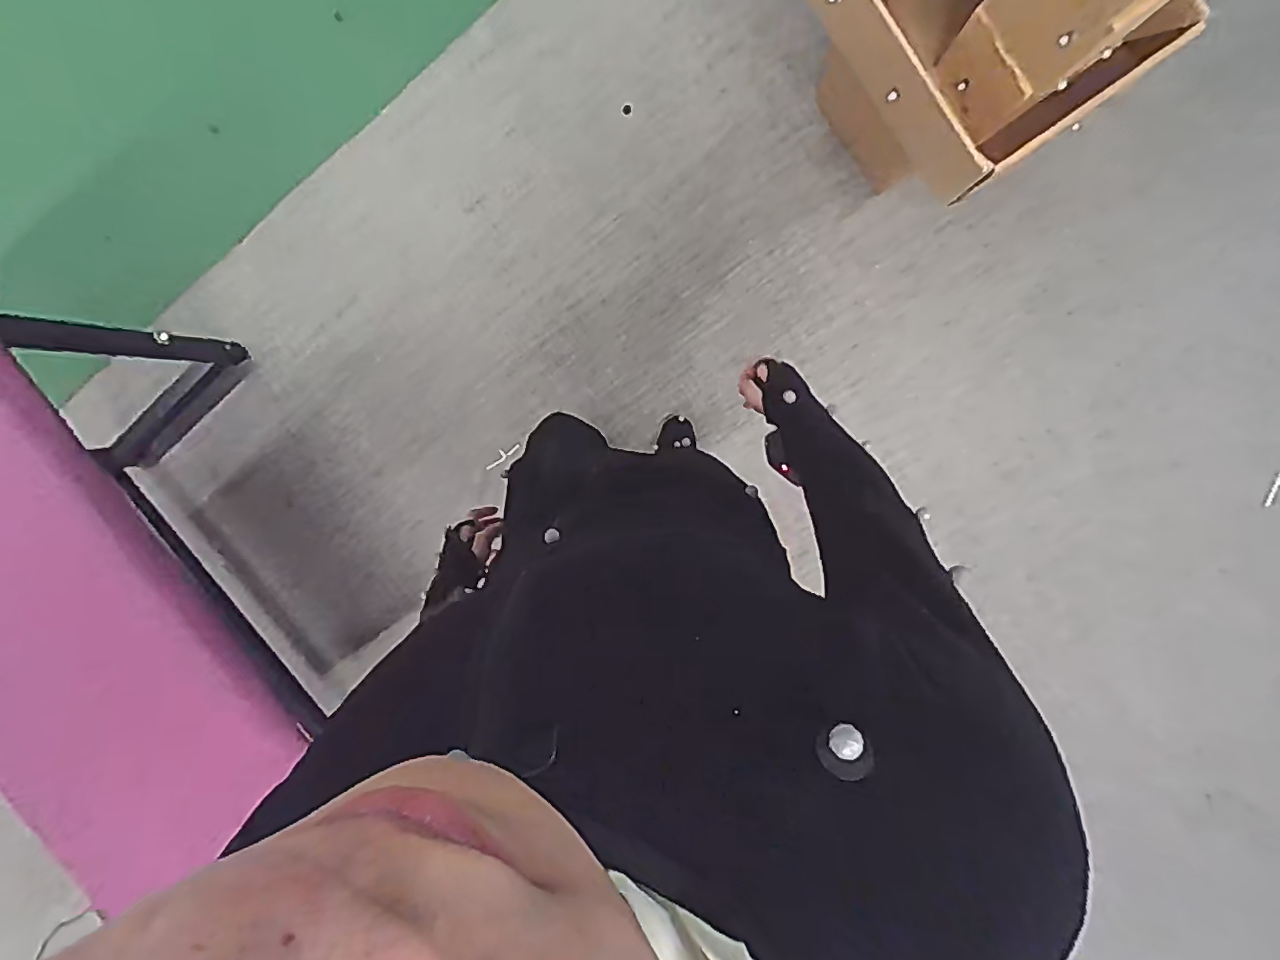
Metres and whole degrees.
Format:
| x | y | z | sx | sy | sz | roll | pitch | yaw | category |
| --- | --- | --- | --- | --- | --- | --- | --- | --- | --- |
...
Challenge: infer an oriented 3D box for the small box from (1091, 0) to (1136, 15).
| x | y | z | sx | sy | sz | roll | pitch | yaw | category |
| --- | --- | --- | --- | --- | --- | --- | --- | --- | --- |
| 0.629 | -0.703 | 0.617 | 0.179 | 0.176 | 0.168 | -32 | 95 | 9 | small box |
